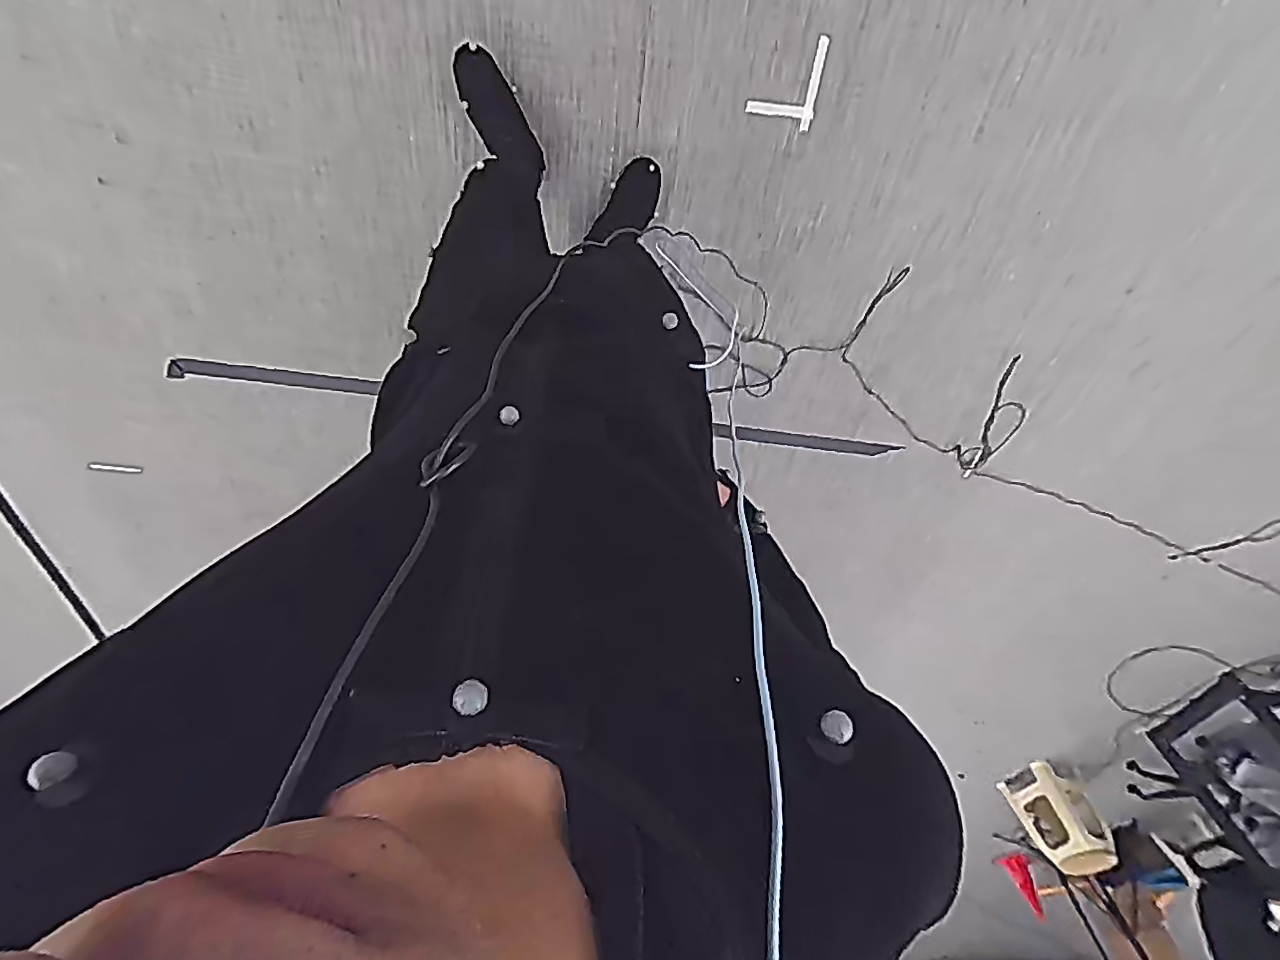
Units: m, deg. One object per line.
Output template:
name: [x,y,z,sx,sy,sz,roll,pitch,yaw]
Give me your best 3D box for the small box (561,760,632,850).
small box: [-0.120,0.917,1.531,0.179,0.176,0.168,8,127,-7]
